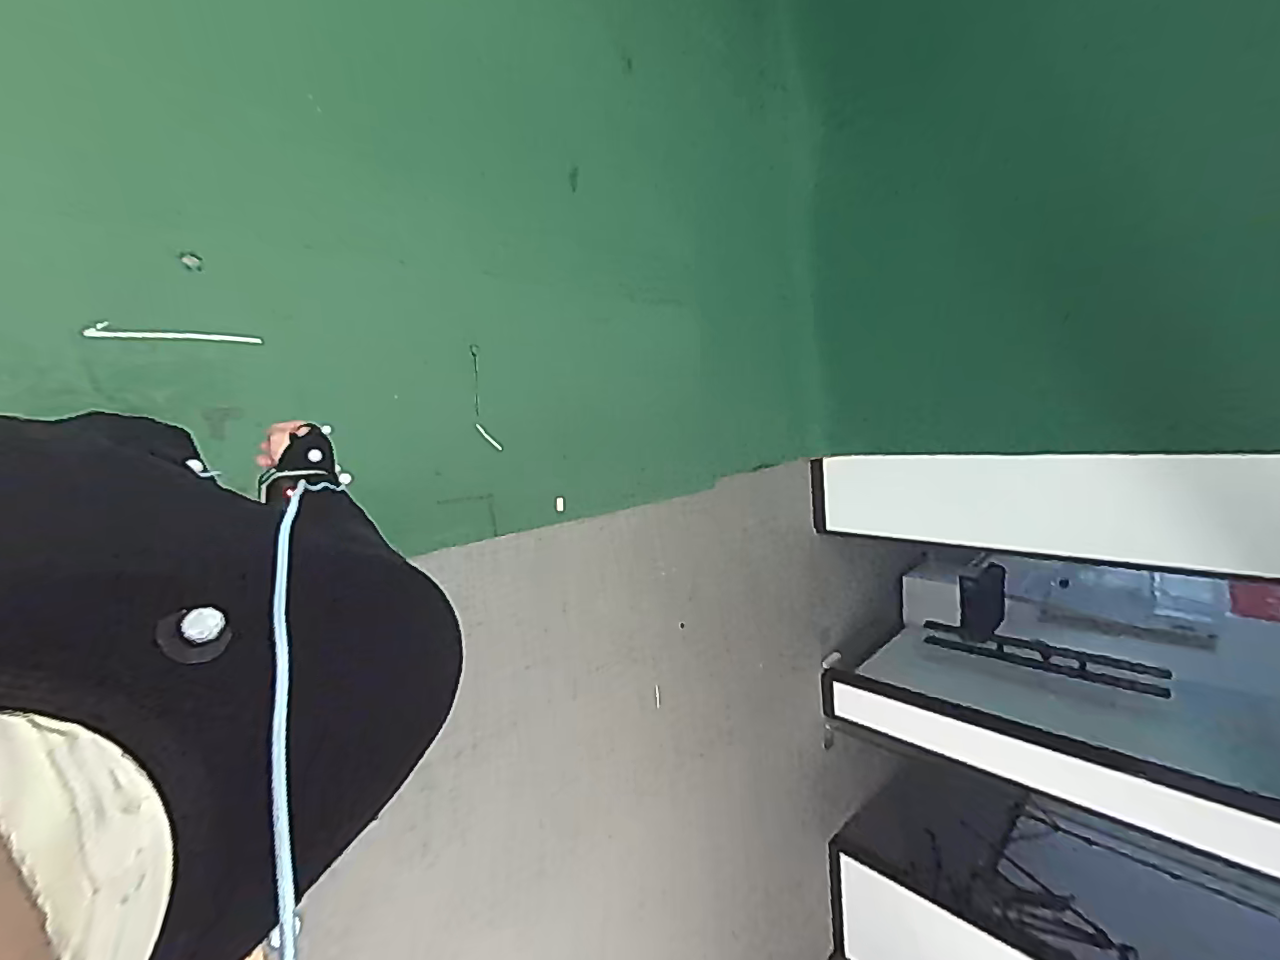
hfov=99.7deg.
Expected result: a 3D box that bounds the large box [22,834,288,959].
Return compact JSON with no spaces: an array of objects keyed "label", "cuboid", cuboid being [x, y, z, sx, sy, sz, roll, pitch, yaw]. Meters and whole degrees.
[{"label":"large box","cuboid":[-1.039,1.100,1.185,0.408,0.320,0.320,-14,101,-42]}]
